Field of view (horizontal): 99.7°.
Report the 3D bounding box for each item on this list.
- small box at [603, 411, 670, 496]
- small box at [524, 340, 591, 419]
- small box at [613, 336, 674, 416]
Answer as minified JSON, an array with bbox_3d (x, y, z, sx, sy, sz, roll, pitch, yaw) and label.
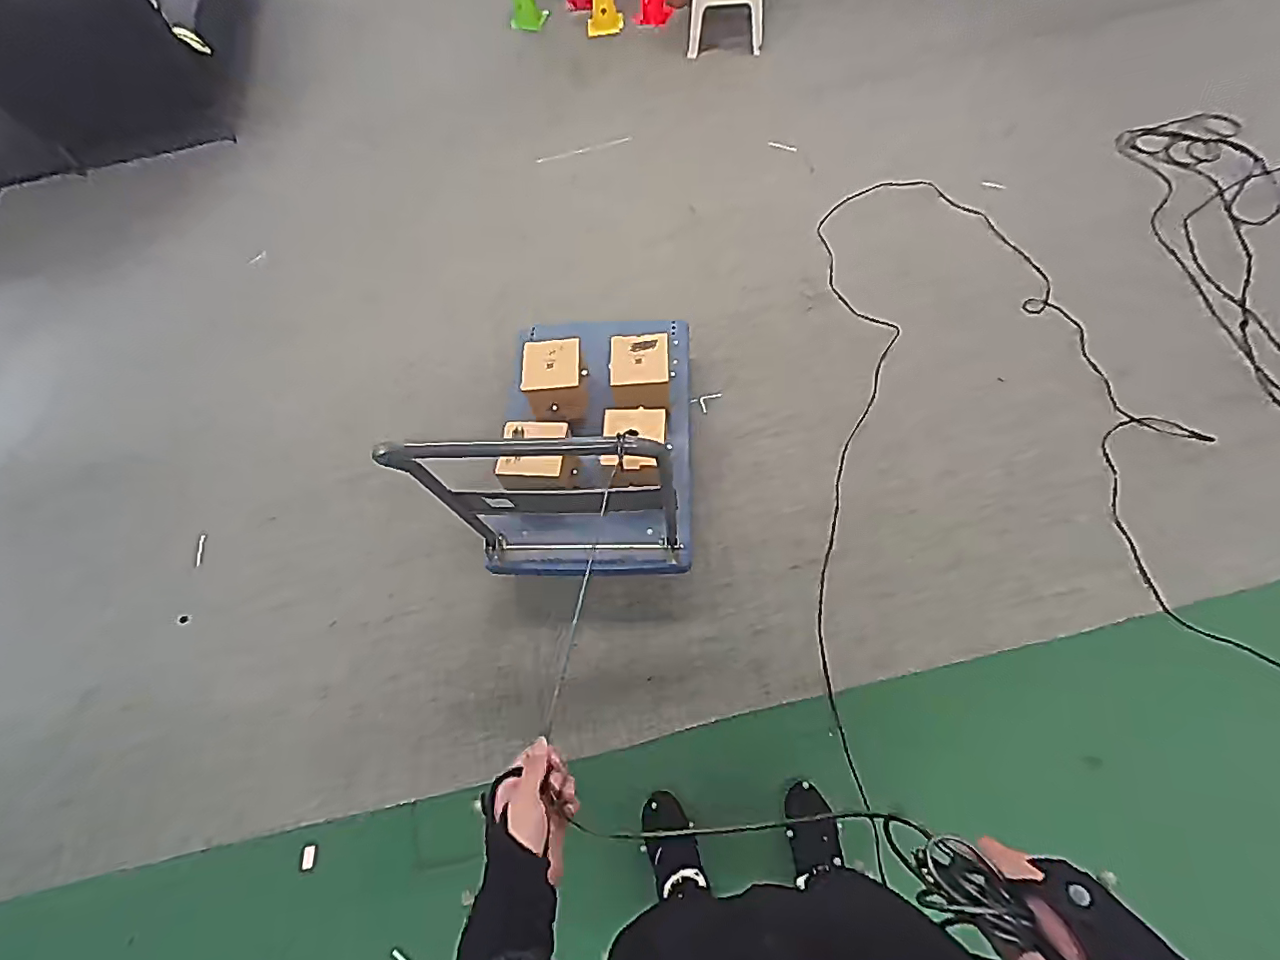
[{"bbox_3d":[-0.004,-0.072,1.491,0.168,0.176,0.179,1,65,6],"label":"small box"},{"bbox_3d":[-0.241,-0.295,1.625,0.168,0.176,0.179,-3,63,4],"label":"small box"},{"bbox_3d":[0.015,-0.303,1.601,0.168,0.176,0.179,-2,64,6],"label":"small box"}]
